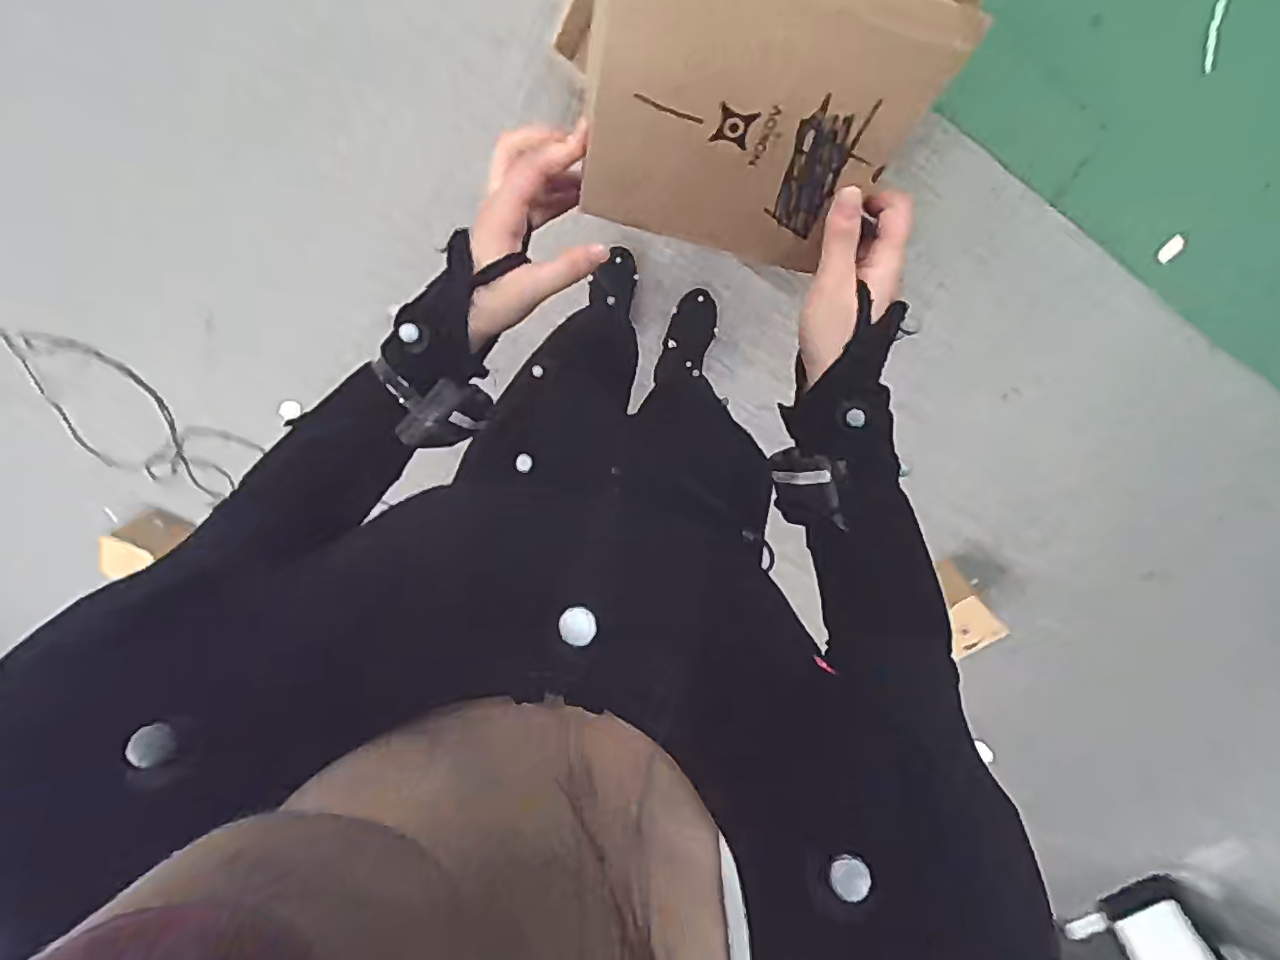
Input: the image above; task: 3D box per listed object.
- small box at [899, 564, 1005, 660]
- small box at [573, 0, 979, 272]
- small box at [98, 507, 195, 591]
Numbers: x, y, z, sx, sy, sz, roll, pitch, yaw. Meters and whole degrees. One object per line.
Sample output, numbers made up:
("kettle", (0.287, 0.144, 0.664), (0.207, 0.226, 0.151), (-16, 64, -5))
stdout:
("small box", (0.871, 0.362, 1.529), (0.179, 0.176, 0.168), (43, 114, -14))
("small box", (0.058, -0.262, 0.333), (0.179, 0.176, 0.168), (6, 158, -12))
("small box", (-1.592, 0.219, 1.754), (0.168, 0.176, 0.179), (23, 117, -5))
